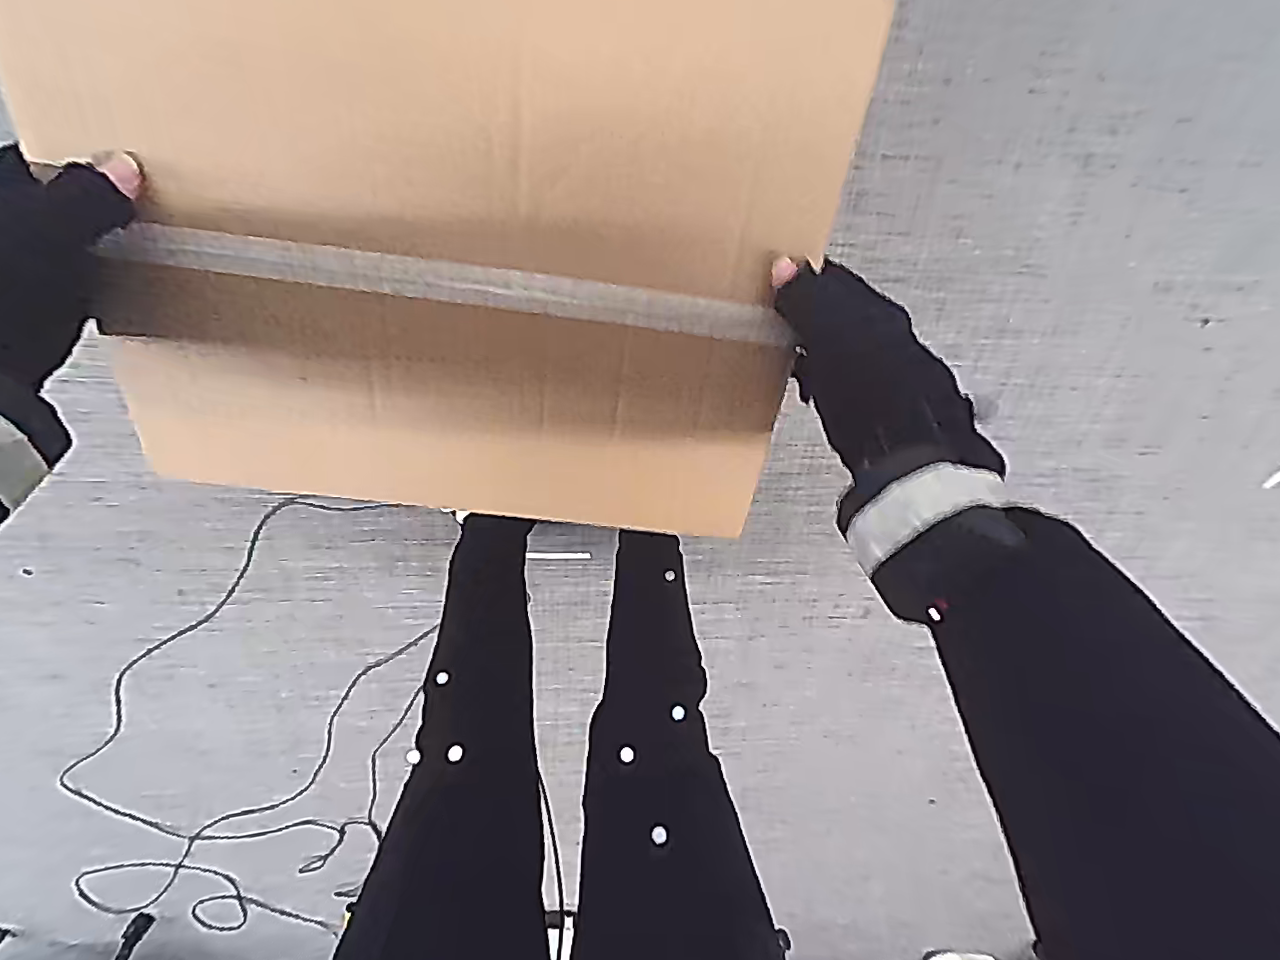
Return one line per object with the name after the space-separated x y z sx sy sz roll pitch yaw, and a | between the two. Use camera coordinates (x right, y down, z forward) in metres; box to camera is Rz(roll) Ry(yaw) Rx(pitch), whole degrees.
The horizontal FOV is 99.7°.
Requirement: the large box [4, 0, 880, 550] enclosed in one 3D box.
-0.106 -0.173 0.439 0.408 0.320 0.320 7 121 -5 | large box
